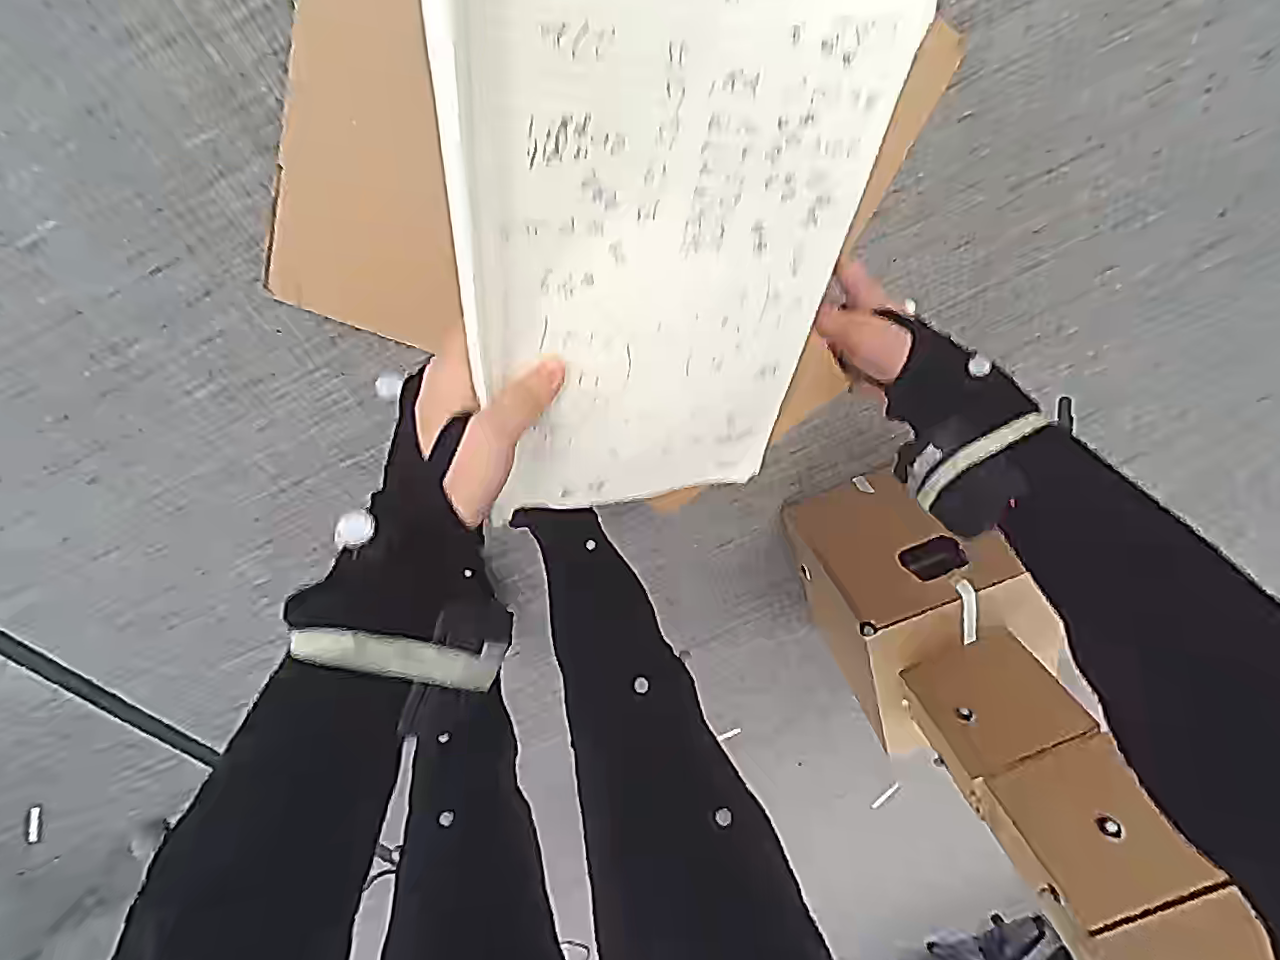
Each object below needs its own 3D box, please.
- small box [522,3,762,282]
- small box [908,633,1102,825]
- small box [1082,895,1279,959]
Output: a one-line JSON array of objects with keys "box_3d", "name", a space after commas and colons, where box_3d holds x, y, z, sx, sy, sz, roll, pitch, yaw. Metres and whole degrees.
[{"box_3d": [-0.010, -0.350, 0.578, 0.179, 0.176, 0.168, 27, 113, -29], "name": "small box"}, {"box_3d": [0.521, 0.361, 0.796, 0.179, 0.176, 0.168, -28, 125, 6], "name": "small box"}, {"box_3d": [0.583, 0.547, 0.531, 0.179, 0.176, 0.168, -25, 124, 5], "name": "small box"}]
